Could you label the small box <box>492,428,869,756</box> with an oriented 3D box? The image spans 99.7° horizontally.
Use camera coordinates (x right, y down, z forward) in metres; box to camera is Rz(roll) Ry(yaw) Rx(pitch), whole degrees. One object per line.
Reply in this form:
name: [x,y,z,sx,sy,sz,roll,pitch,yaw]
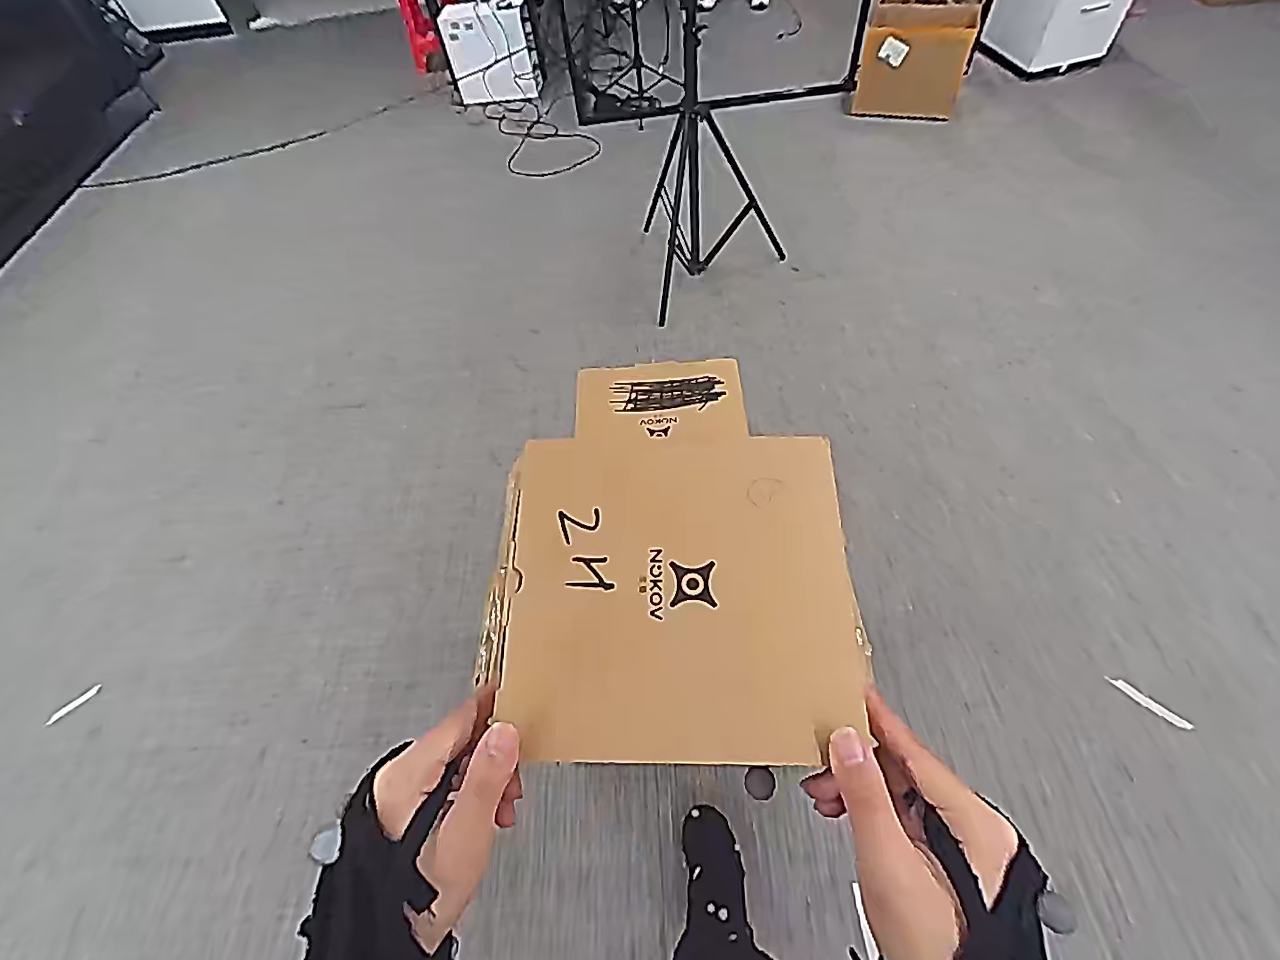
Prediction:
small box: [0.022,0.078,0.350,0.179,0.176,0.168,0,66,3]
